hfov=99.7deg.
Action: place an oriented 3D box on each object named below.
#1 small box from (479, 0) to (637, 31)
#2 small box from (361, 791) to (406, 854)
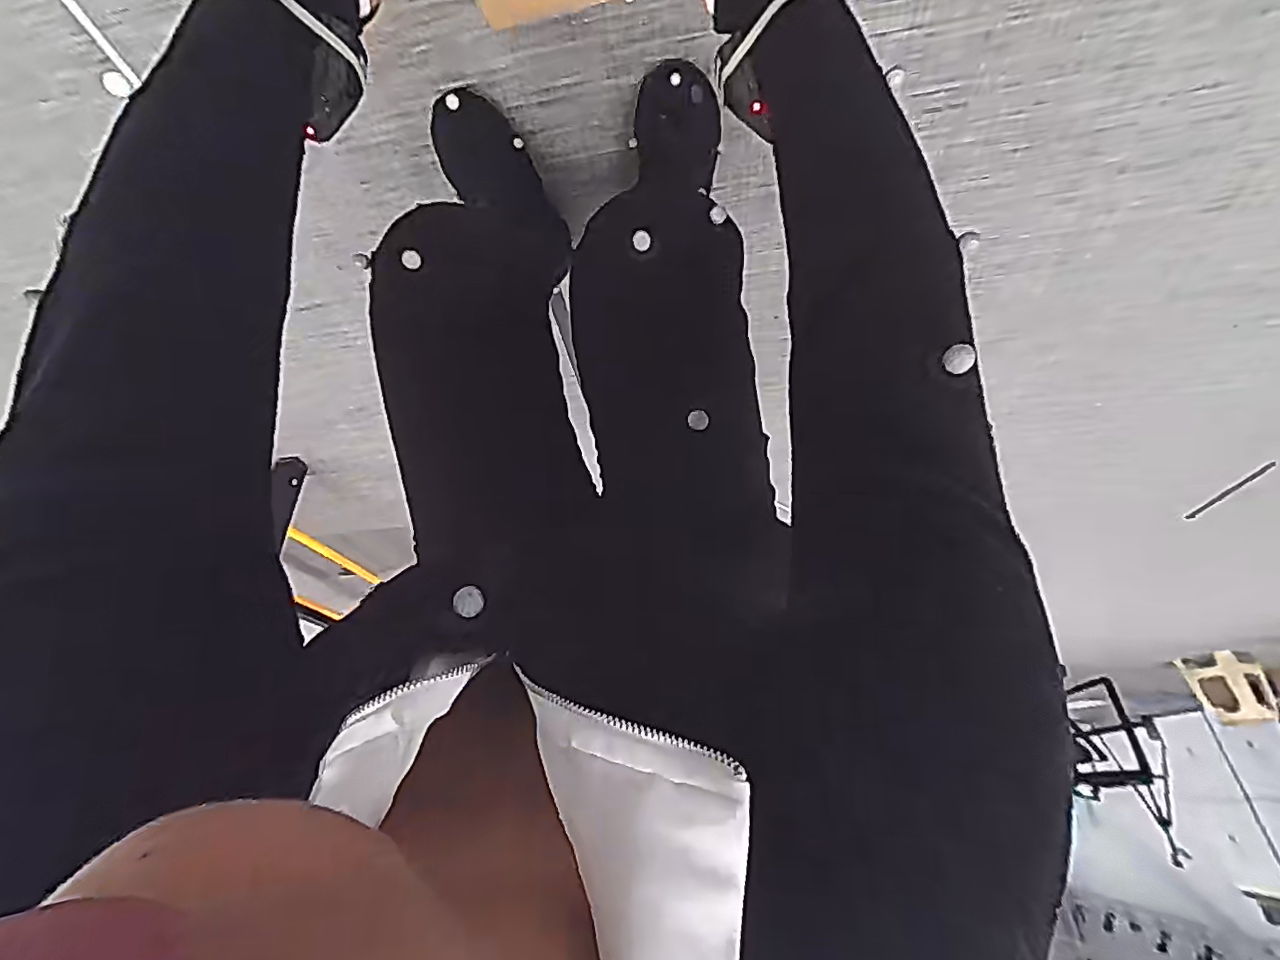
[{"bbox_3d":[-0.068,-0.524,0.448,0.179,0.176,0.168,-7,150,7],"label":"small box"},{"bbox_3d":[-0.902,1.131,1.793,0.168,0.176,0.179,-6,149,6],"label":"small box"}]
